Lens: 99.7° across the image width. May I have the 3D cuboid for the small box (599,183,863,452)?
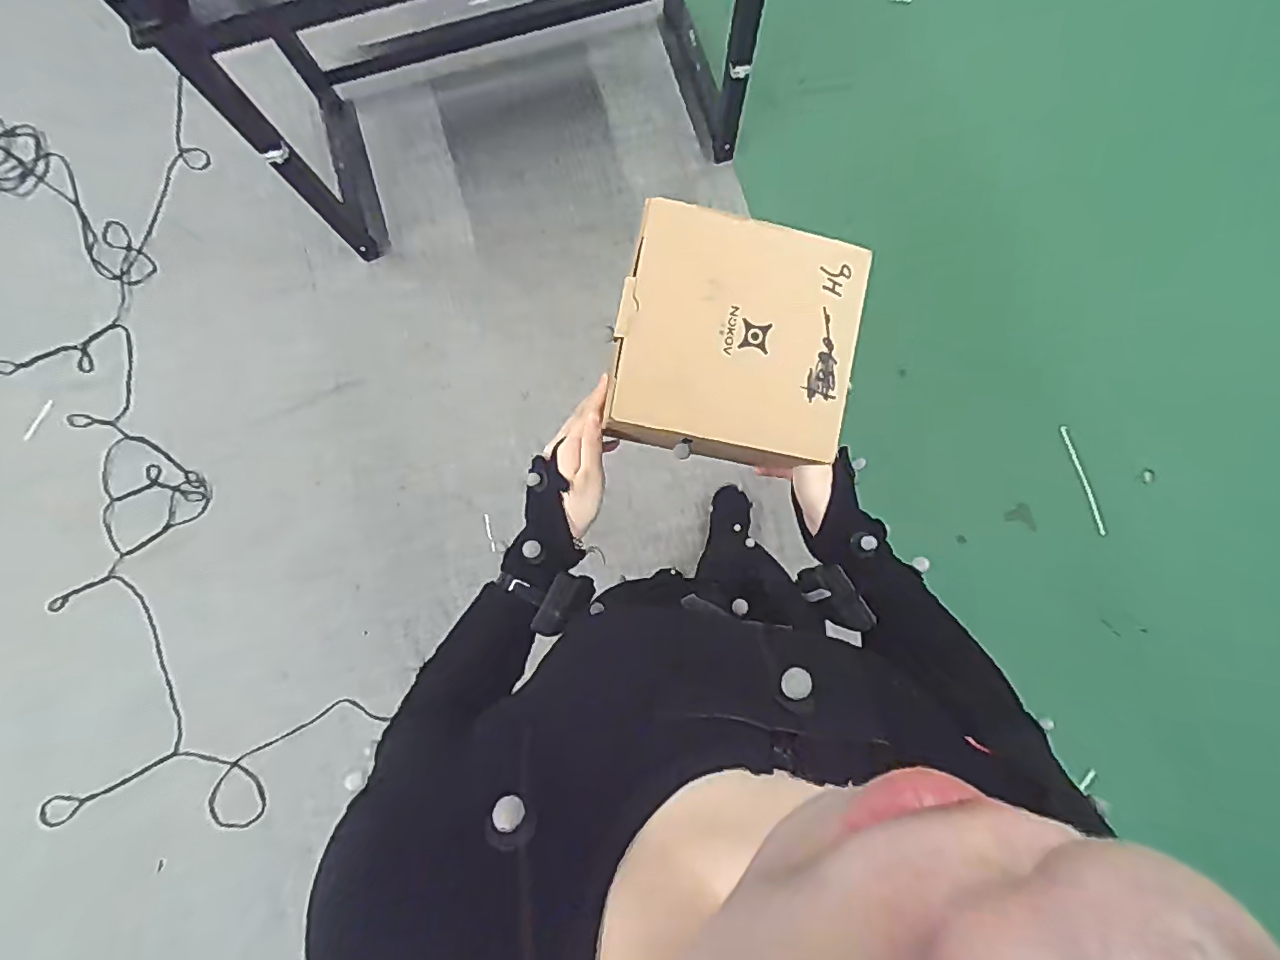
[{"bbox_3d":[0.062,-0.120,0.477,0.179,0.176,0.168,10,89,-7],"label":"small box"}]
